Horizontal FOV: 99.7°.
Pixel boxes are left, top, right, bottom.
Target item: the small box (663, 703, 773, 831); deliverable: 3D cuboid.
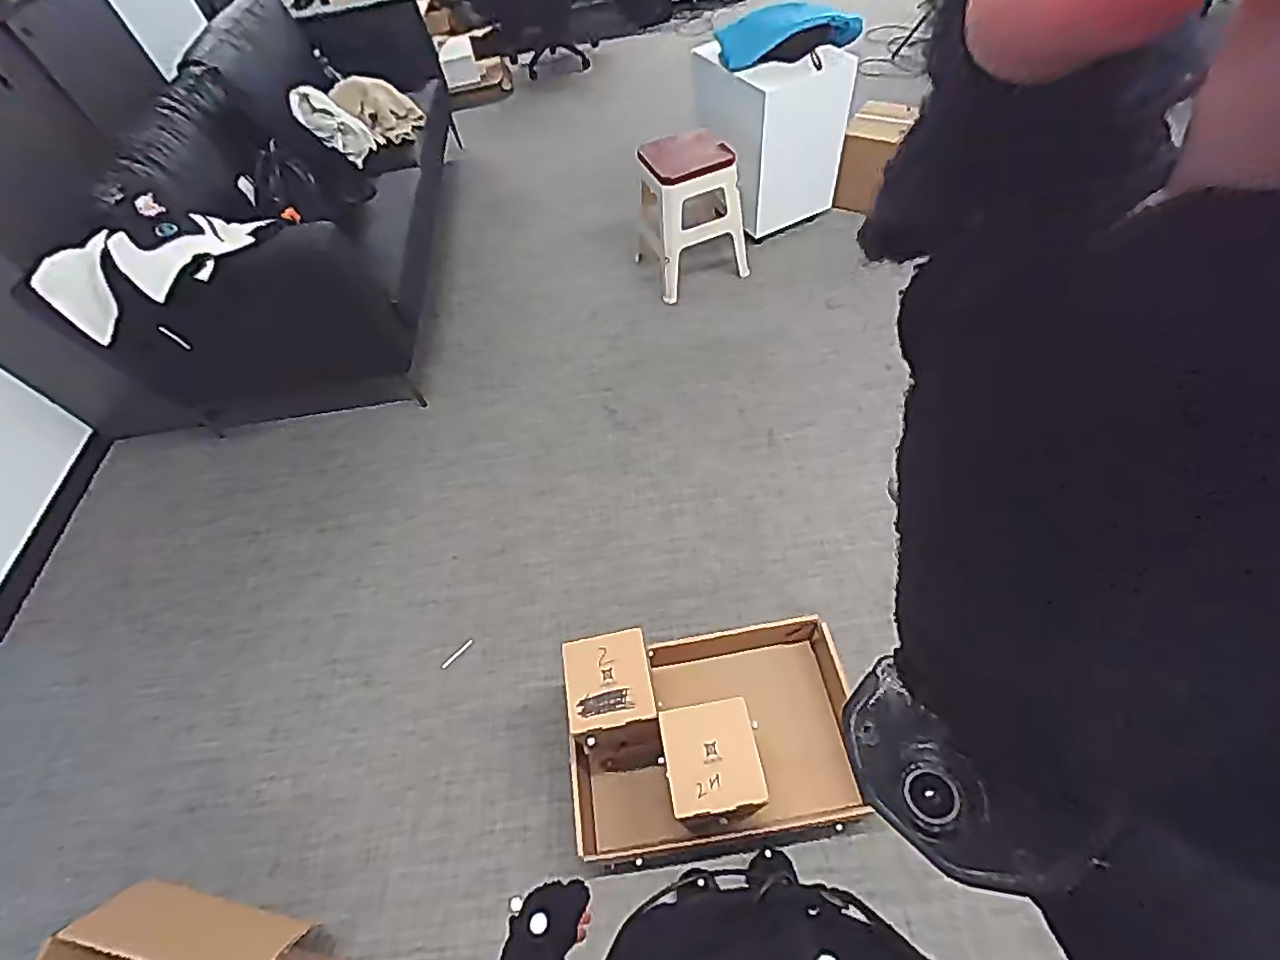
[{"bbox_3d":[0.139,0.541,1.014,0.168,0.176,0.179,-10,55,0],"label":"small box"}]
